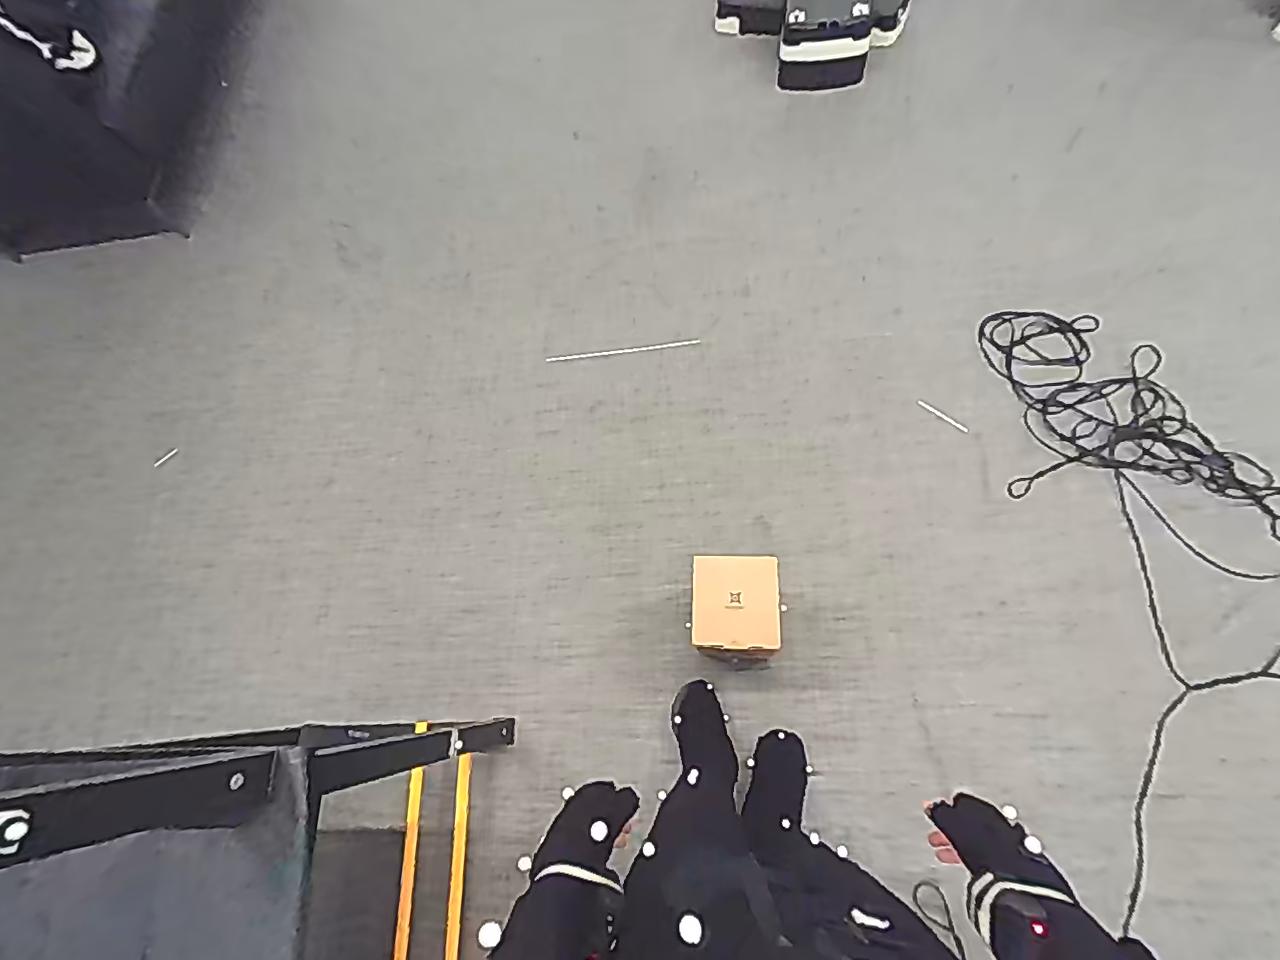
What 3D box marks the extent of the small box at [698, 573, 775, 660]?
[{"bbox_3d":[0.226,0.323,1.266,0.168,0.176,0.179,1,70,11],"label":"small box"}]
